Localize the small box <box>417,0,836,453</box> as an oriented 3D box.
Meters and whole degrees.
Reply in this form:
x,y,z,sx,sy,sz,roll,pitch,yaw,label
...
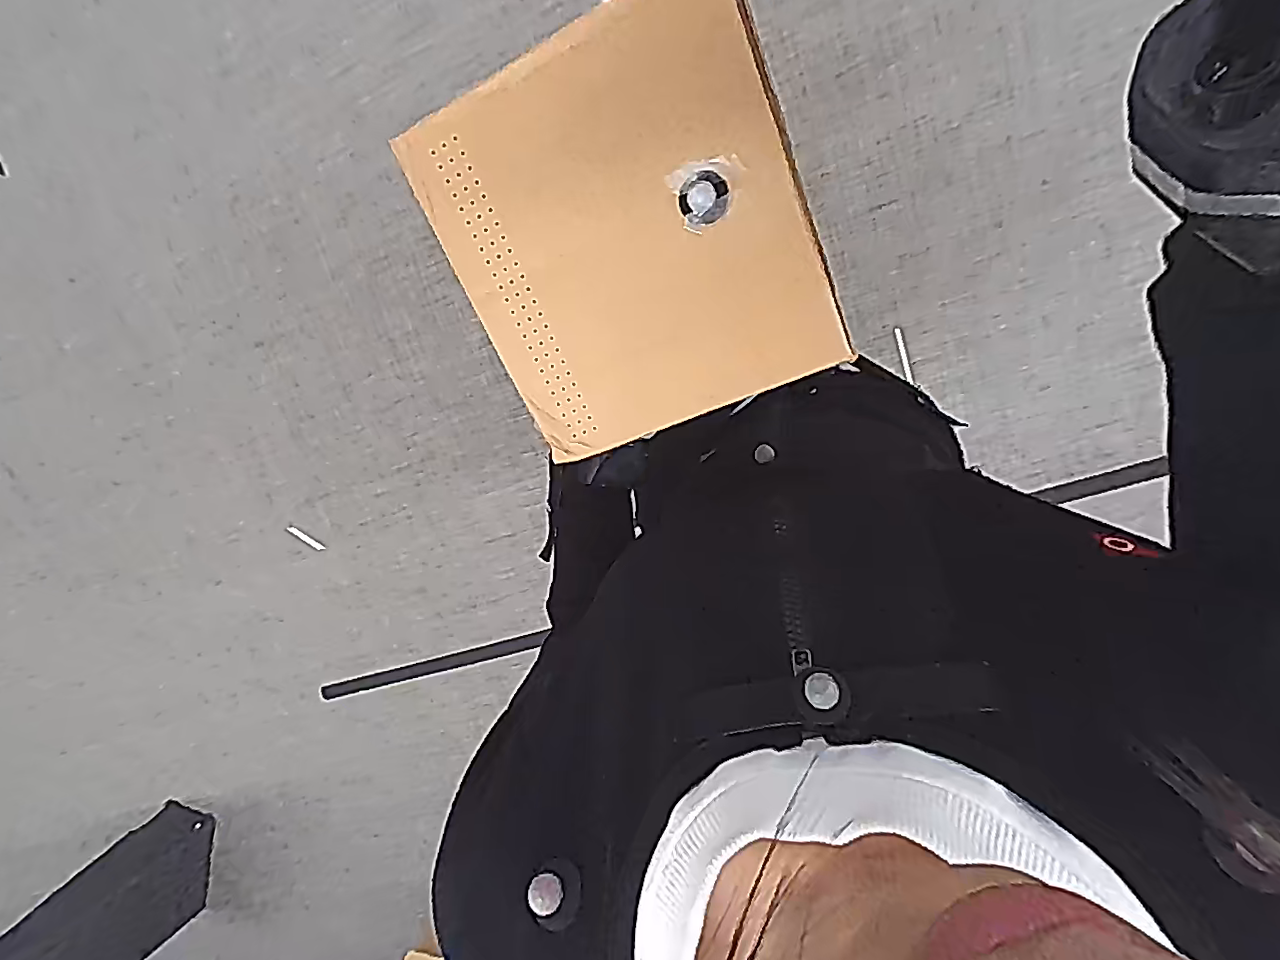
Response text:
x,y,z,sx,sy,sz,roll,pitch,yaw,label
0.002,-0.142,0.336,0.176,0.168,0.179,-19,108,19,small box
